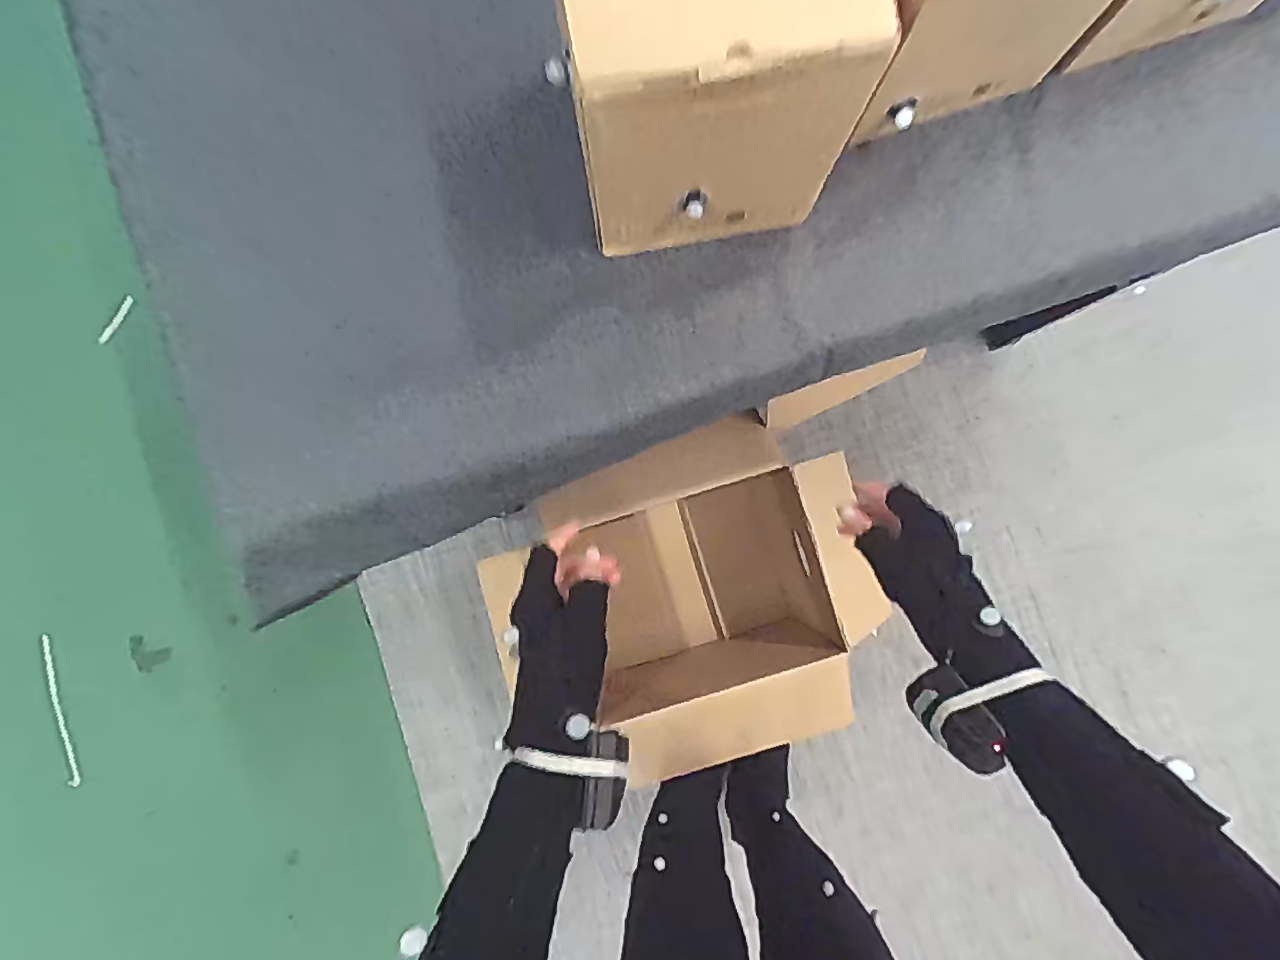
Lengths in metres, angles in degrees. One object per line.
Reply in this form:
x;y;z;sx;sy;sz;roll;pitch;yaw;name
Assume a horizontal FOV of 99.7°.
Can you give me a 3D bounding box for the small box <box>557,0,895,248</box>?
0.034;-0.285;0.355;0.168;0.176;0.179;-10;86;0;small box
